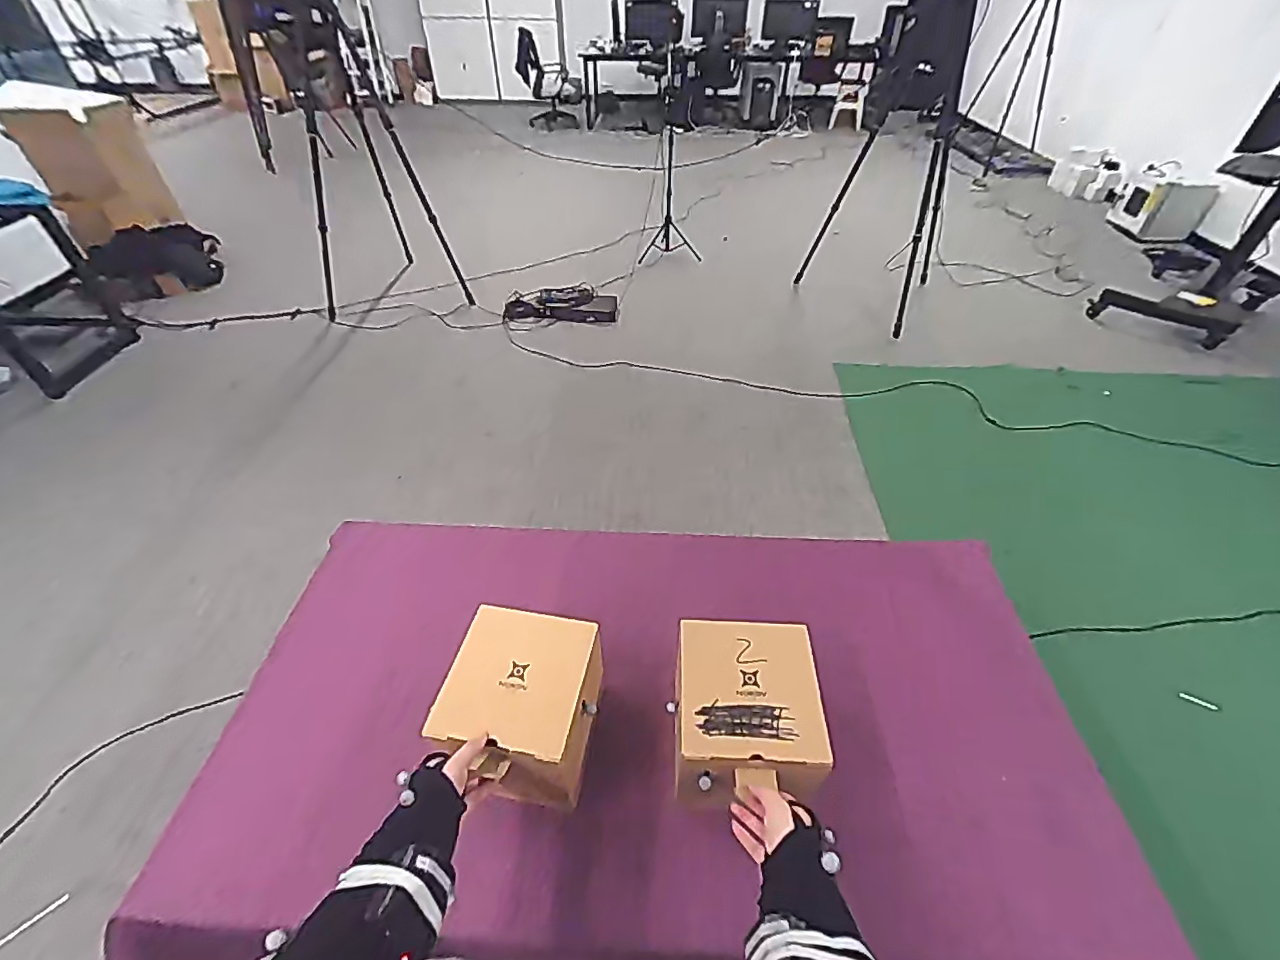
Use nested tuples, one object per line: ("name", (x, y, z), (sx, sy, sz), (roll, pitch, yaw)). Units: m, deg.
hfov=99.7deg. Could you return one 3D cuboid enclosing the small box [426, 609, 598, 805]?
("small box", (-0.155, 0.303, 0.726), (0.168, 0.176, 0.179), (8, 45, 7))
